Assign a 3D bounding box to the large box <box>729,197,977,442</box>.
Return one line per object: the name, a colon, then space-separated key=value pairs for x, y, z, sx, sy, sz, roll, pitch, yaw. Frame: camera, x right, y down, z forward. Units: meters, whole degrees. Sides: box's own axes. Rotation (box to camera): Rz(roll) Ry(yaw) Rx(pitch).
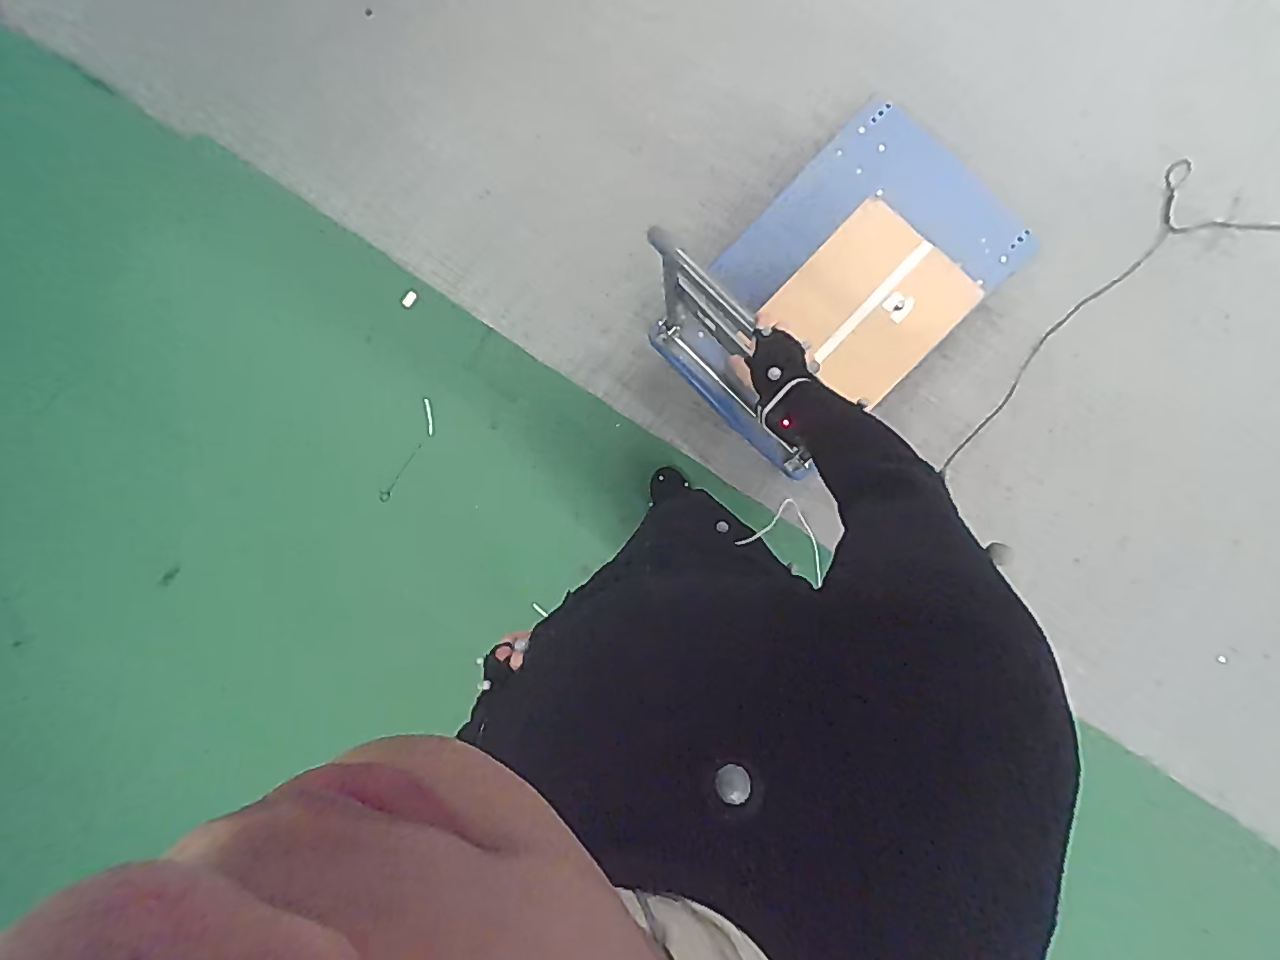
large box: x=0.463 y=-0.343 z=1.276 sx=0.320 sy=0.320 sz=0.408 roll=44 pitch=93 yaw=3
